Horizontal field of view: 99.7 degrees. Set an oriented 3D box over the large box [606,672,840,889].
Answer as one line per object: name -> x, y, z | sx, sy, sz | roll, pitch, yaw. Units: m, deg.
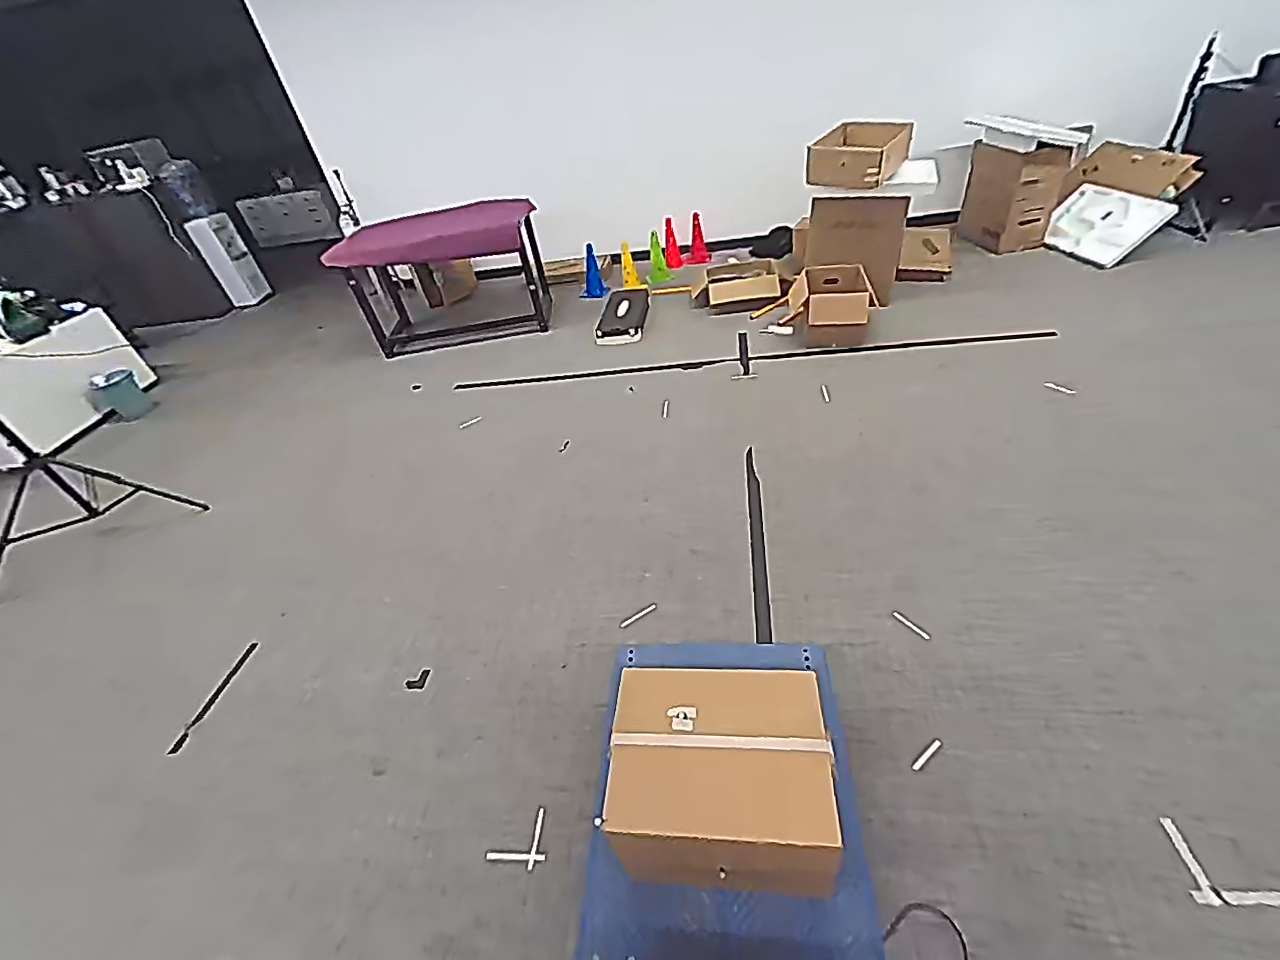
large box -> 0.171, 0.623, 1.126 | 0.408, 0.320, 0.320 | -4, 39, 10
